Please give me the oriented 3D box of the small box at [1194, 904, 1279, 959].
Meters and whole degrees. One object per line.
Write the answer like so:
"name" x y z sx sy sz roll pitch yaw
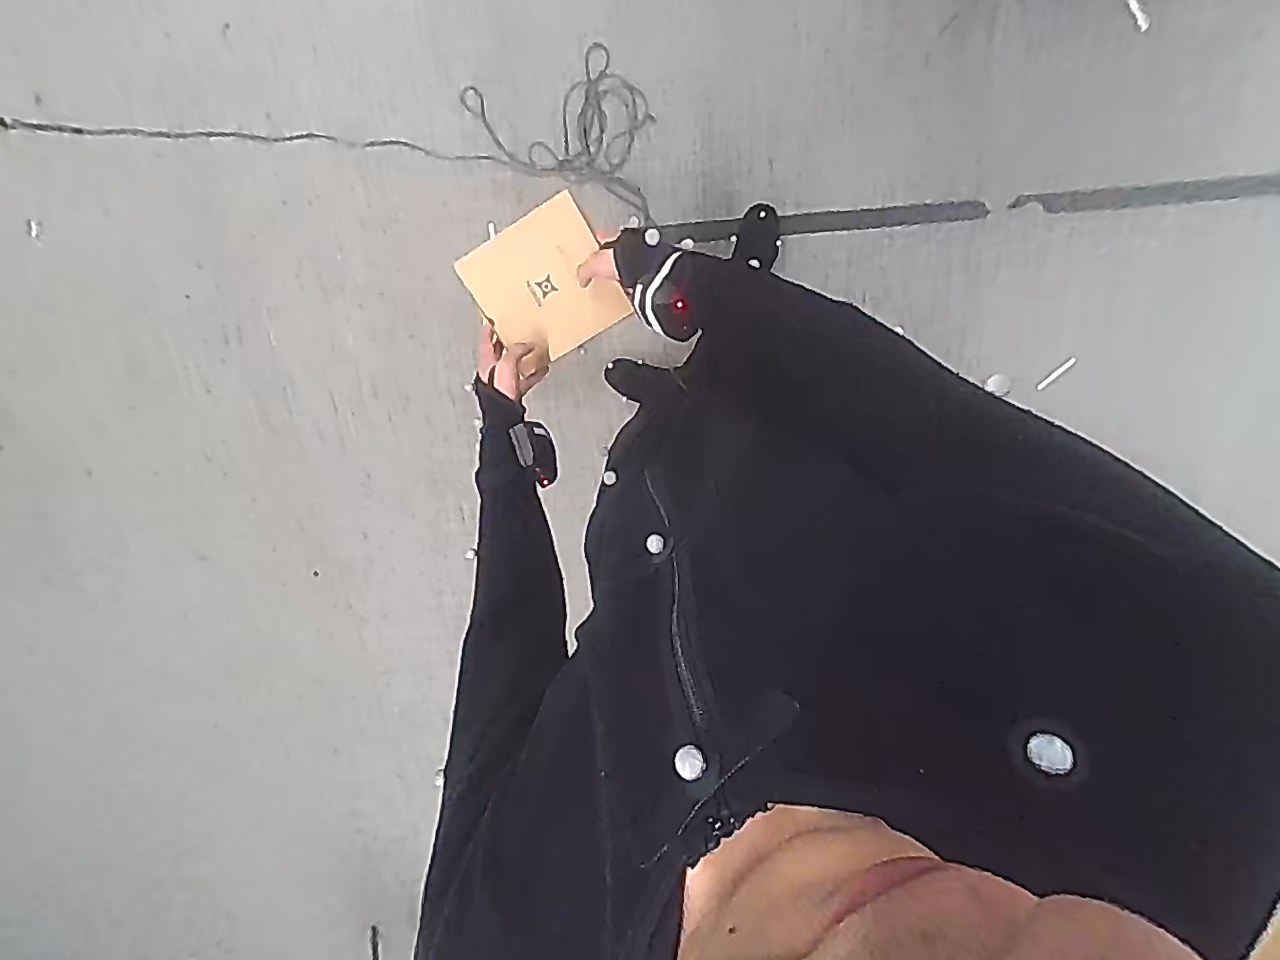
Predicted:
"small box" 1.529 1.183 1.323 0.168 0.176 0.179 -5 110 3

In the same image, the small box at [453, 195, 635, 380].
"small box" -0.119 -0.261 0.757 0.179 0.176 0.168 -28 105 11
